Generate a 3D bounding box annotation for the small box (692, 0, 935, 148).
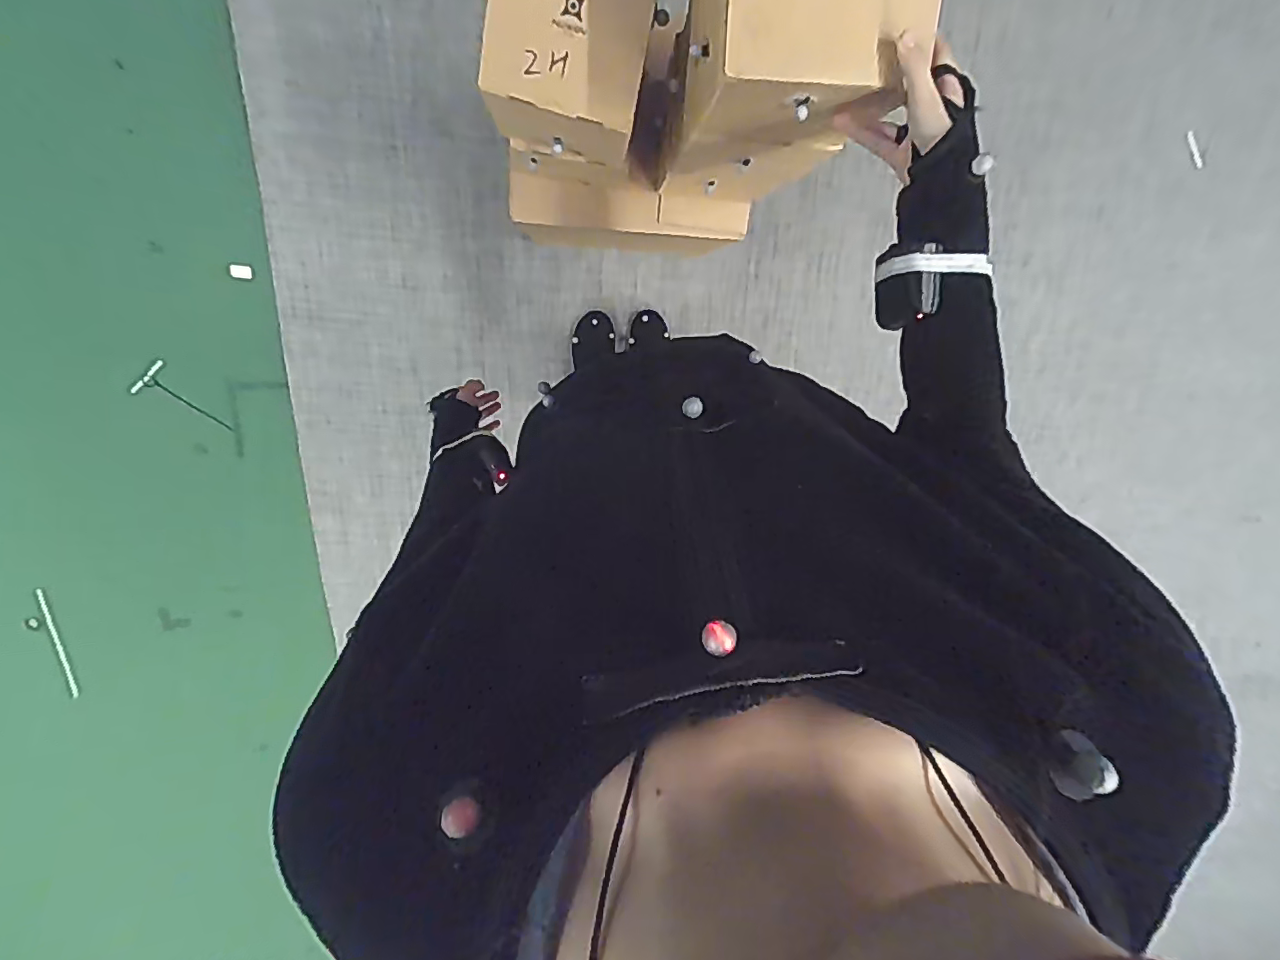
[{"bbox_3d":[0.147,-0.424,0.500,0.179,0.176,0.168,1,108,-4],"label":"small box"}]
